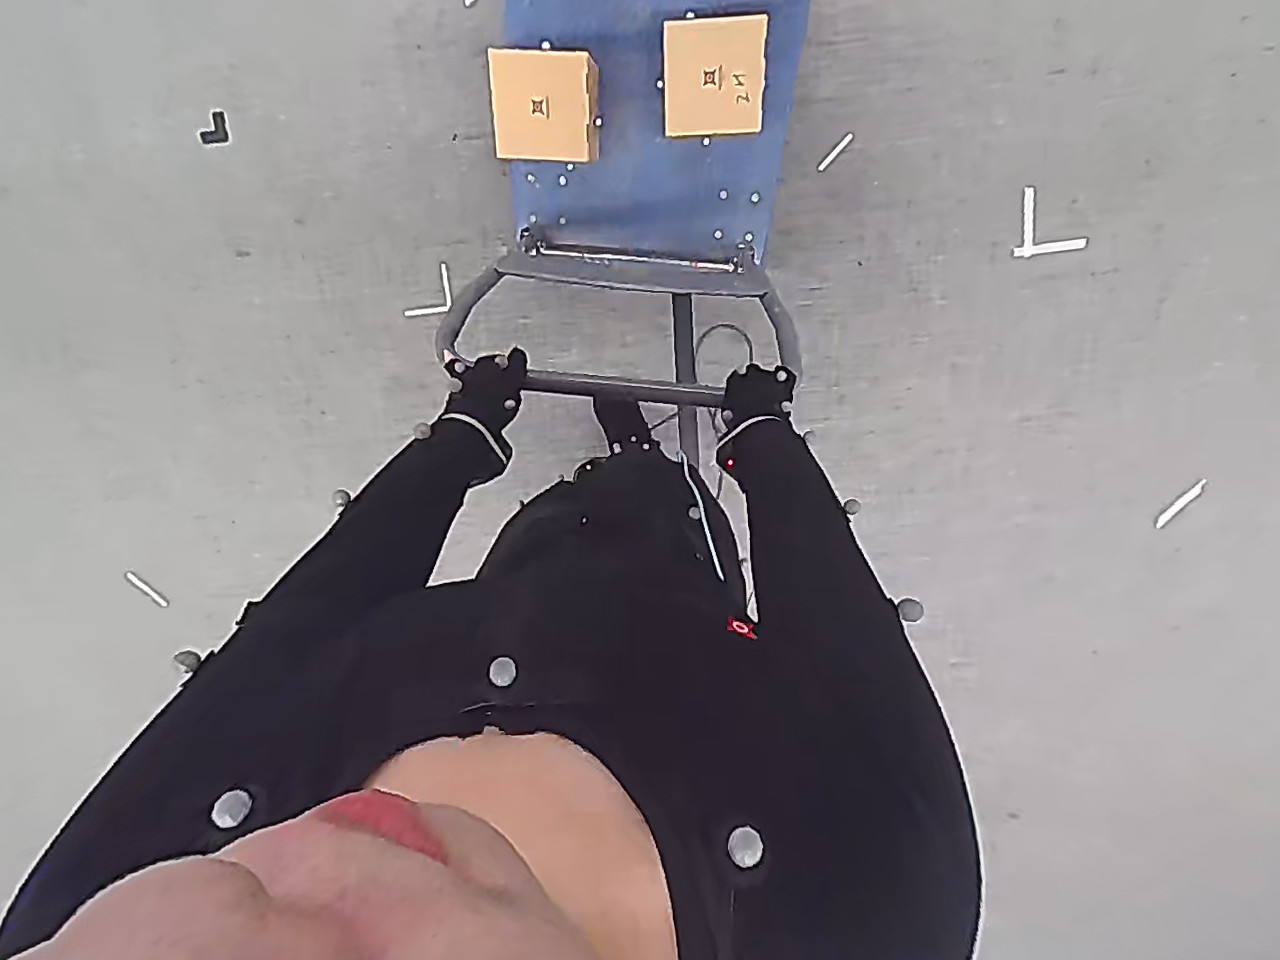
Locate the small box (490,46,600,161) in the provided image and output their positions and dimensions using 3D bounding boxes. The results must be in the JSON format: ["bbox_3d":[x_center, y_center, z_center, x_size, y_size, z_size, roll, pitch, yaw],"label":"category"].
[{"bbox_3d":[-0.174,-0.715,1.041,0.179,0.176,0.168,2,121,1],"label":"small box"}]

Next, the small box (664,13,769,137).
[{"bbox_3d":[0.135,-0.741,1.006,0.179,0.176,0.168,0,121,4],"label":"small box"}]
